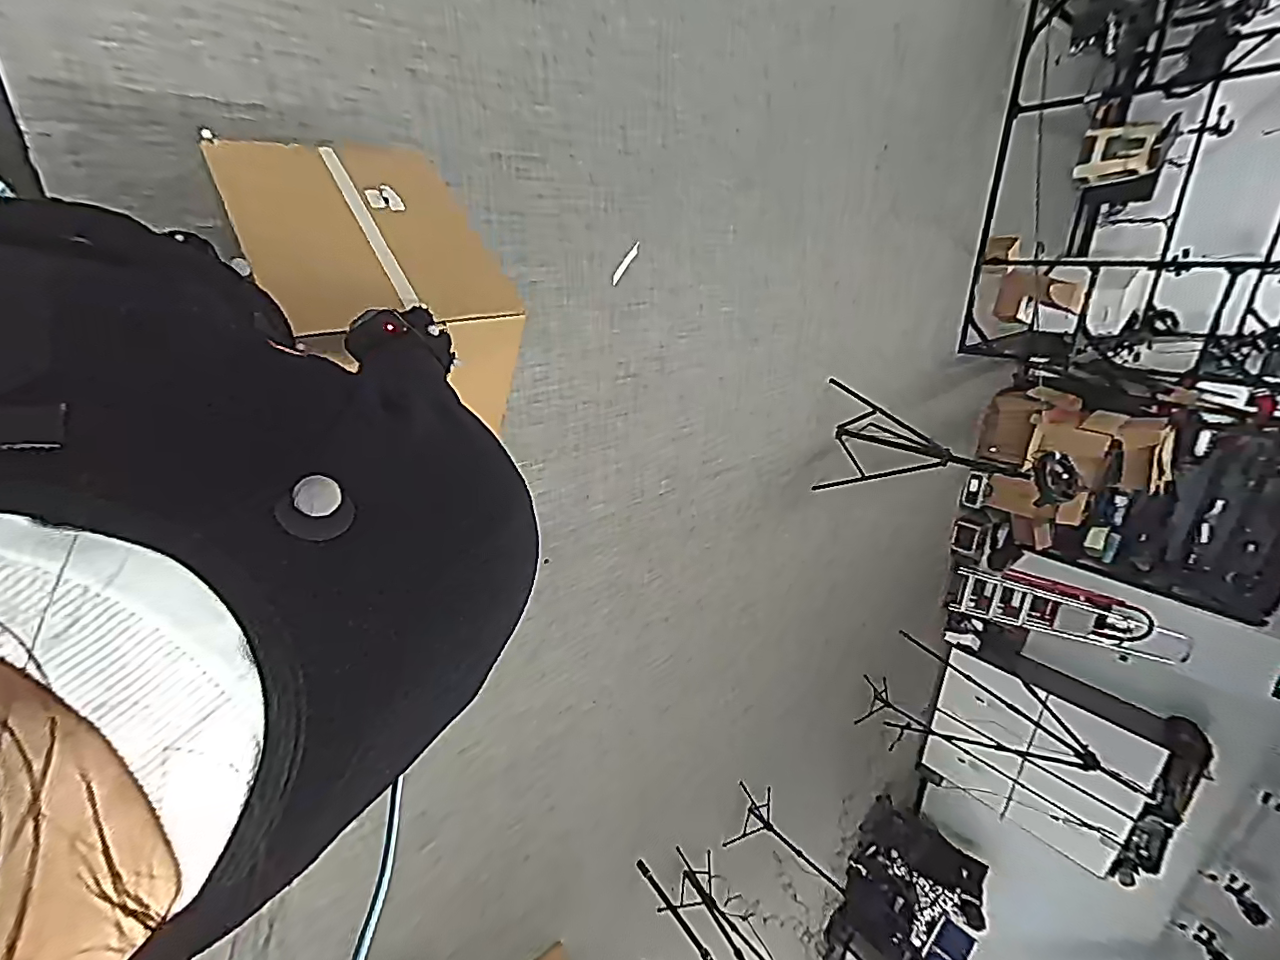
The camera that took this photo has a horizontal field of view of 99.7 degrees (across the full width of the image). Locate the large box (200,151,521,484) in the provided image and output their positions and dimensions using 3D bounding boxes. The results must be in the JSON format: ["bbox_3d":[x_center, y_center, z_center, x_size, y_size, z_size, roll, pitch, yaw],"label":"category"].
[{"bbox_3d":[-0.446,-0.267,0.890,0.320,0.408,0.320,-19,154,-35],"label":"large box"}]
